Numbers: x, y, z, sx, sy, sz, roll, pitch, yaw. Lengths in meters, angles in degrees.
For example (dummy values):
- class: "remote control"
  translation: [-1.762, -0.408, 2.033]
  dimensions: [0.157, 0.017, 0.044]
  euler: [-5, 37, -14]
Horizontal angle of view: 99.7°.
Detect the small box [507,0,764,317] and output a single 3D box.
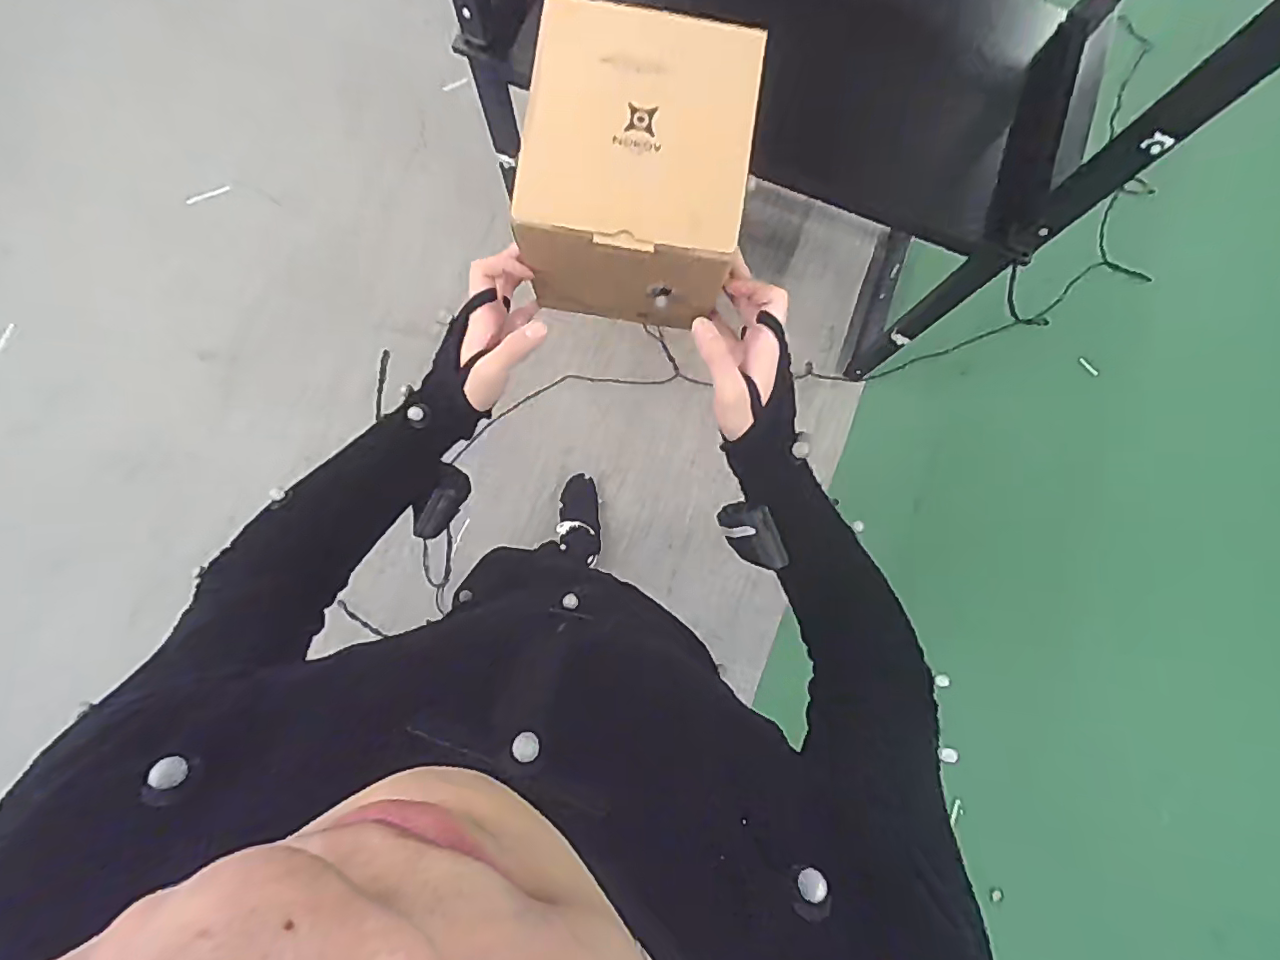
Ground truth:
- class: "small box"
  translation: [-0.004, -0.258, 0.467]
  dimensions: [0.168, 0.176, 0.179]
  euler: [9, 88, -2]
